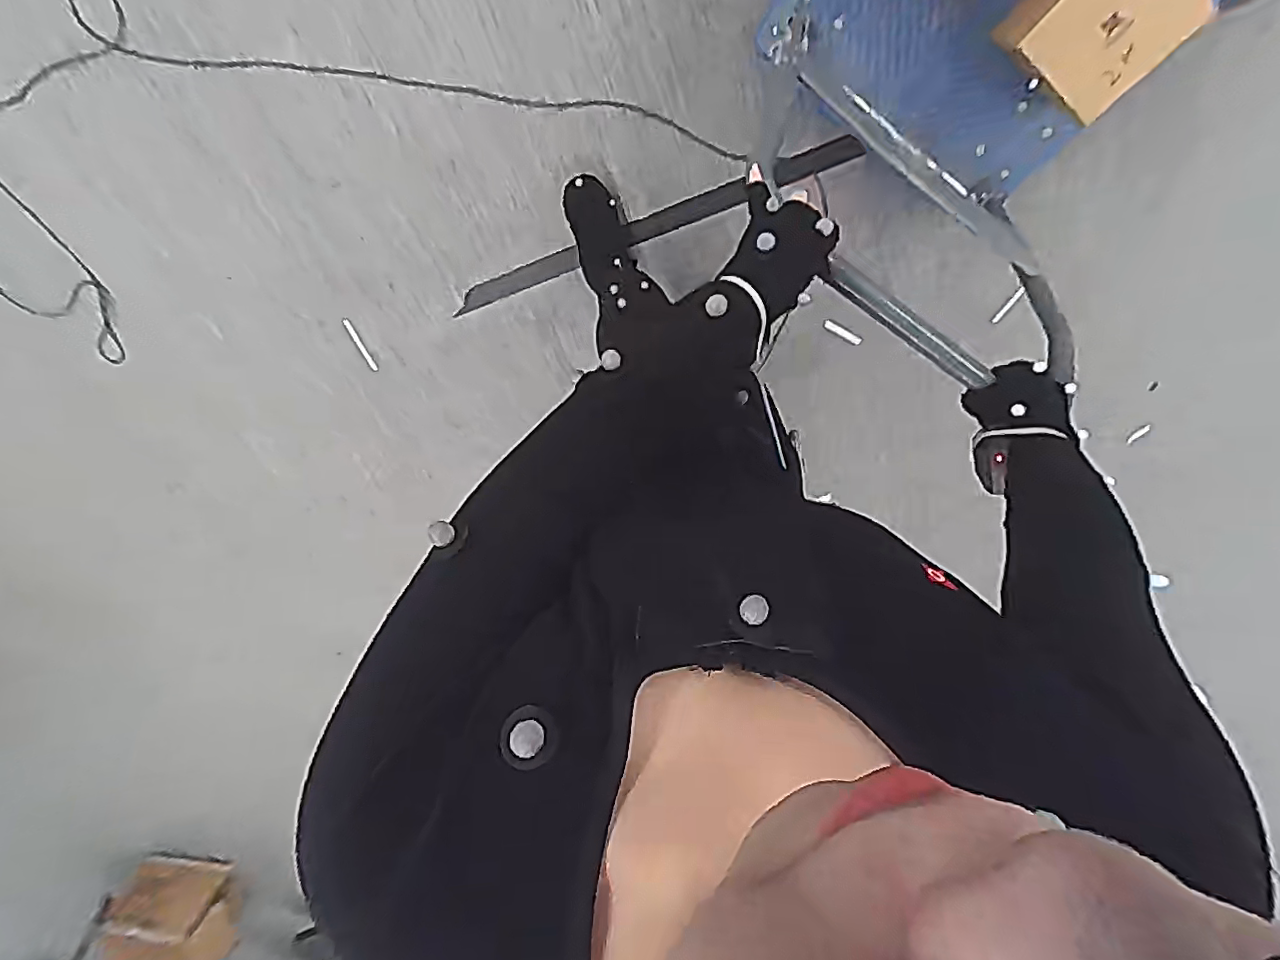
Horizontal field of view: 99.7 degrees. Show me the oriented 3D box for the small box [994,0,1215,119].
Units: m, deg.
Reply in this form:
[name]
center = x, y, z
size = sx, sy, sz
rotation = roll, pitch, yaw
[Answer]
[small box]
center = 0.674, -0.690, 0.808
size = 0.179, 0.176, 0.168
rotation = 32, 134, -17
